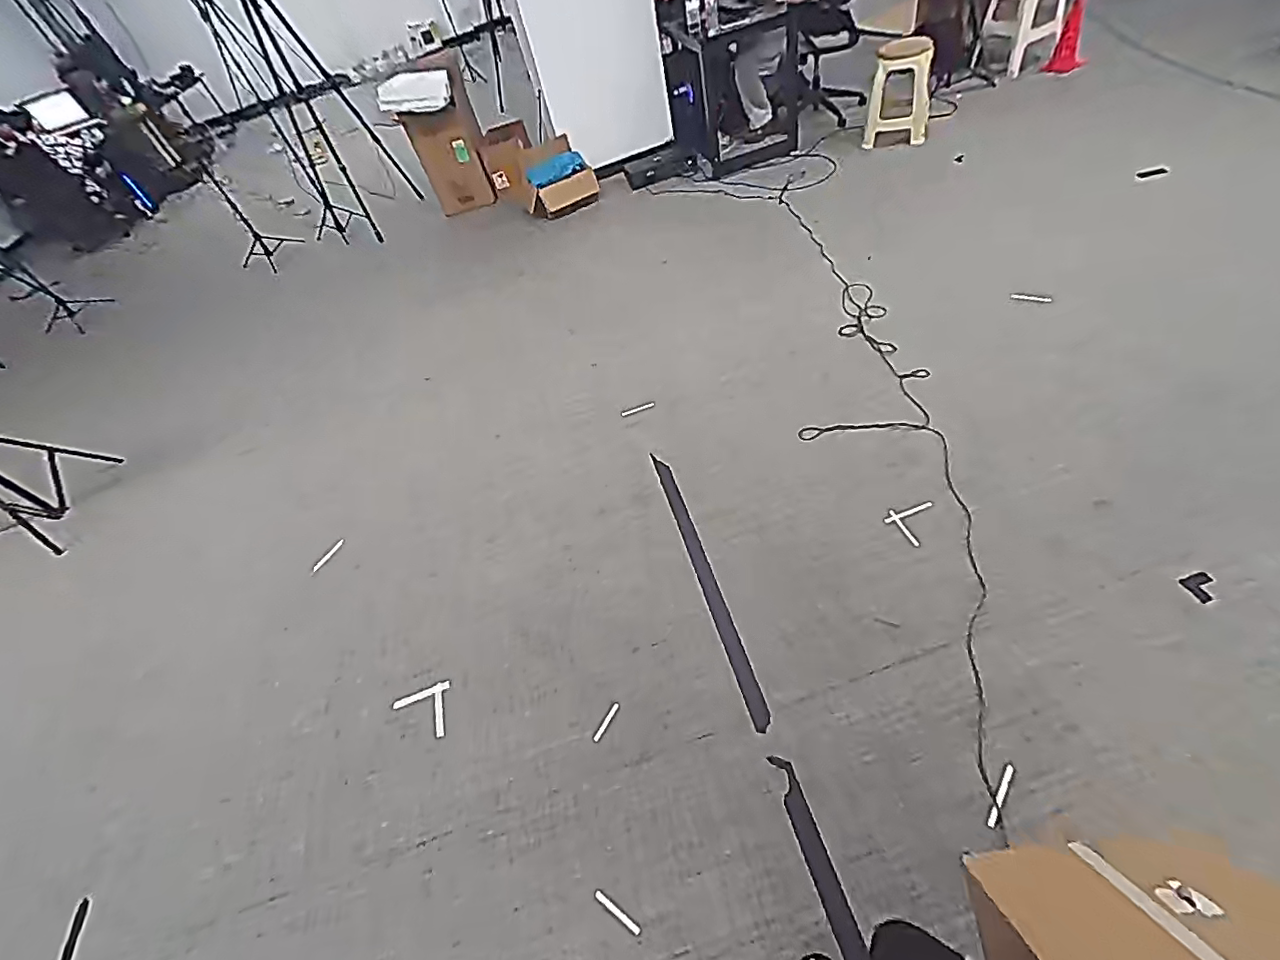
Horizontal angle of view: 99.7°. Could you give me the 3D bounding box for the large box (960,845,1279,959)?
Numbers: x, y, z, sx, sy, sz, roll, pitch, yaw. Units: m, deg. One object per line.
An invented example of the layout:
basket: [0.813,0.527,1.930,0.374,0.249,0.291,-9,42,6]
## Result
large box: [0.624,0.669,0.570,0.320,0.408,0.320,-9,82,6]
